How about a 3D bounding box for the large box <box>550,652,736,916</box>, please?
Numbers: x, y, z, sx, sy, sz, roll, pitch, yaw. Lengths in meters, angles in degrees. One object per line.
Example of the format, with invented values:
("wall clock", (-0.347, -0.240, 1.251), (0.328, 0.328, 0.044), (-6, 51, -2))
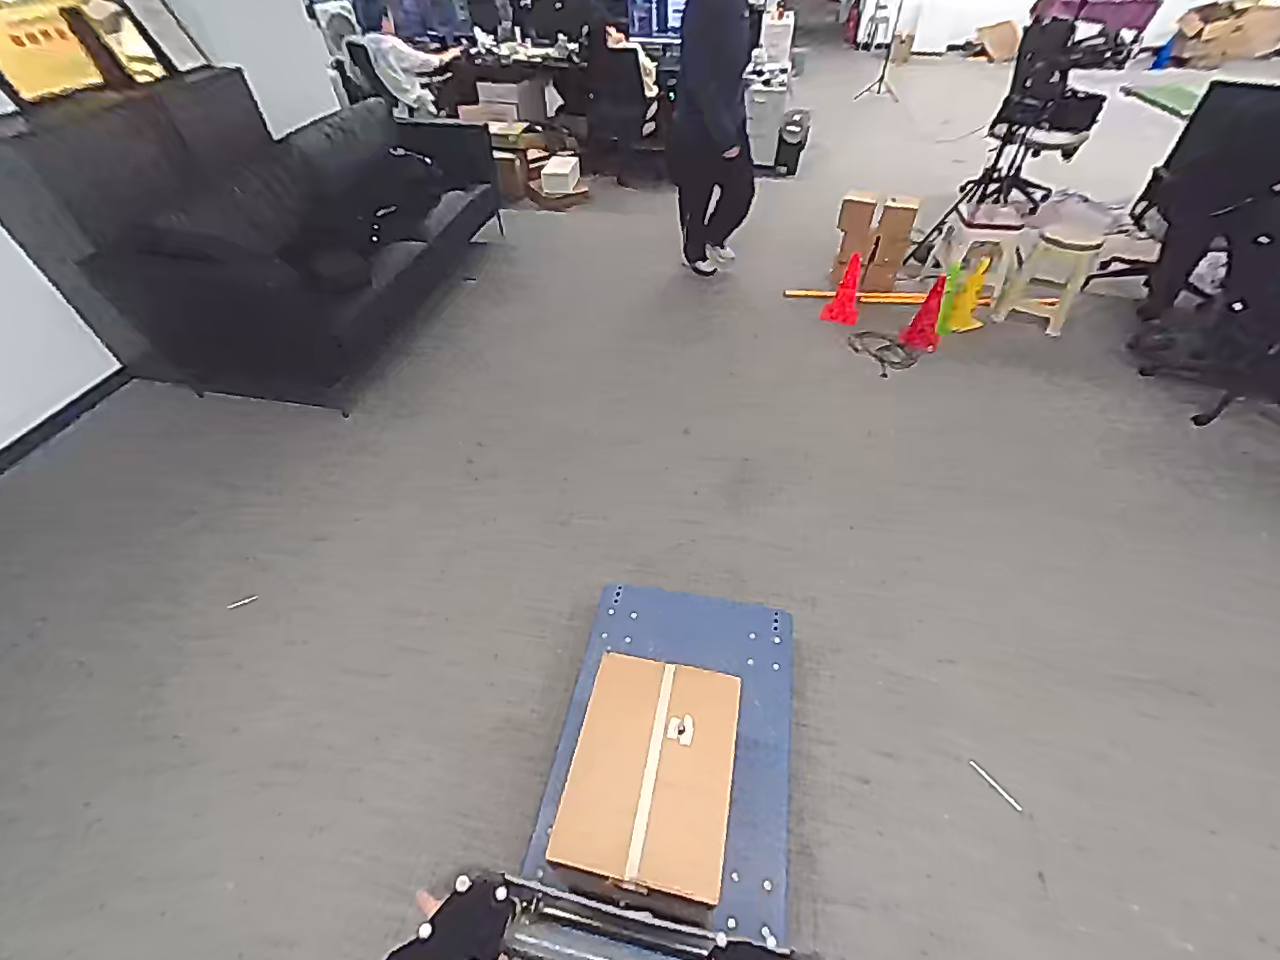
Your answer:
("large box", (0.029, 0.657, 1.186), (0.320, 0.320, 0.408), (8, 46, 10))
